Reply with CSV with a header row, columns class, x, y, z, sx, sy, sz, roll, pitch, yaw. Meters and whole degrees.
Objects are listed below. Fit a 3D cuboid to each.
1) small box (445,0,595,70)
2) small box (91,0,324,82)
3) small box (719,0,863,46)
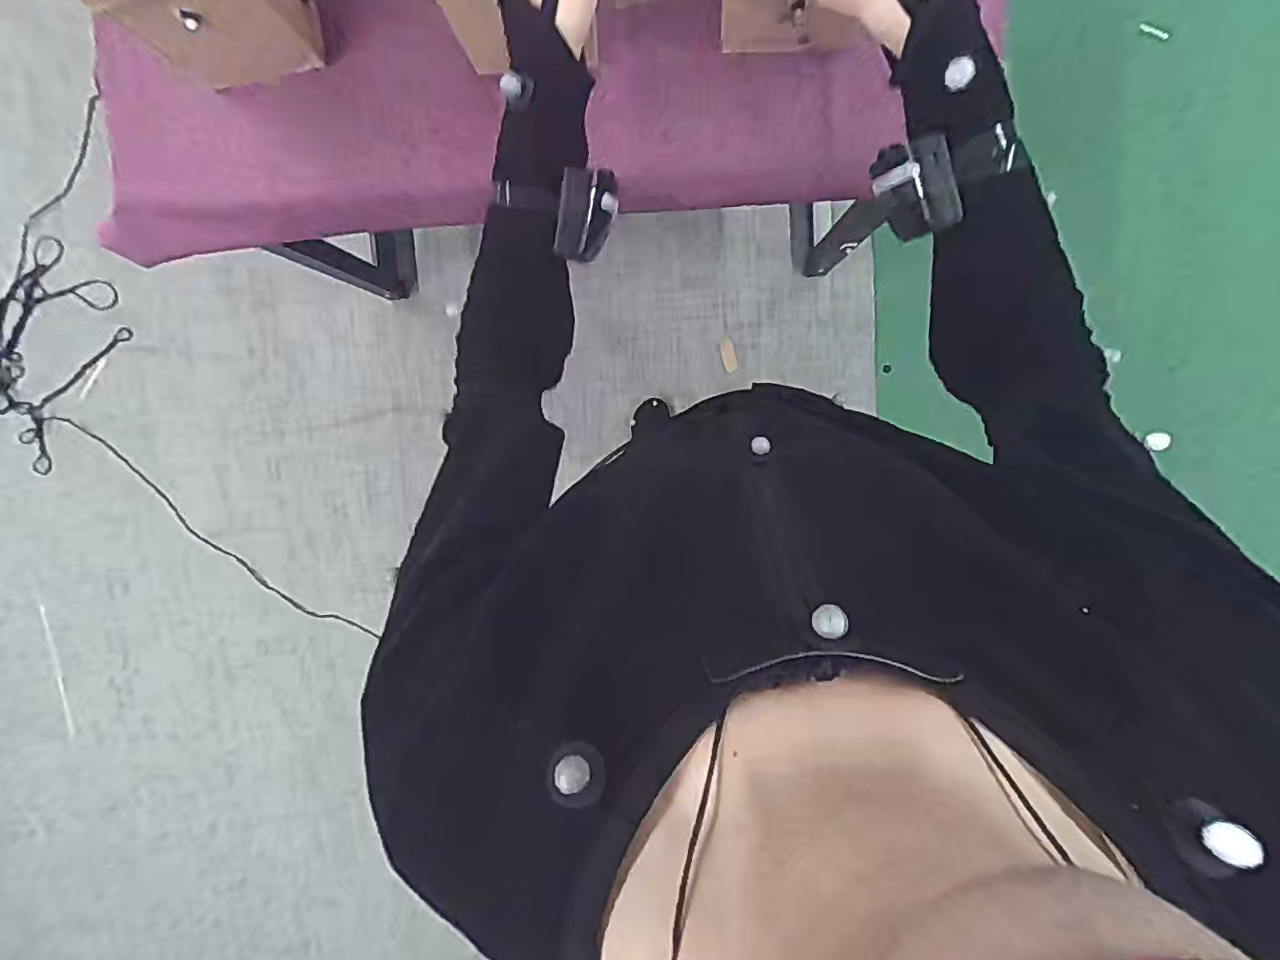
class,x,y,z,sx,sy,sz,roll,pitch,yaw
small box,-0.145,-0.623,0.627,0.168,0.176,0.179,-1,97,3
small box,-0.523,-0.617,0.646,0.179,0.176,0.168,-8,97,3
small box,0.180,-0.632,0.610,0.168,0.176,0.179,1,97,3
